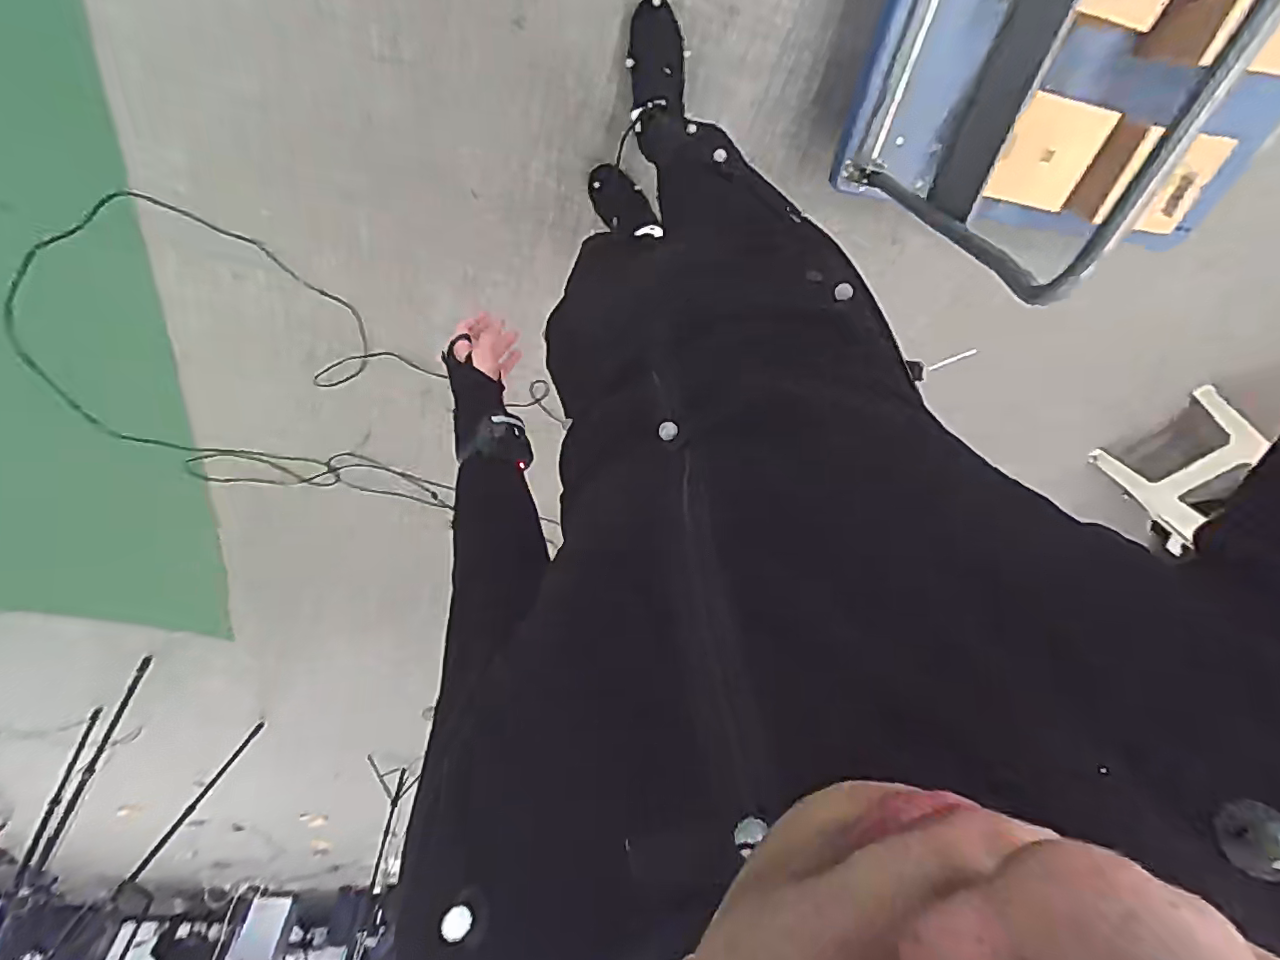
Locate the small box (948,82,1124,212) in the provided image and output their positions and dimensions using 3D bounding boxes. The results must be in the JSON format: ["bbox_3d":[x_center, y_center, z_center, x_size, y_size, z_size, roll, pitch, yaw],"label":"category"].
[{"bbox_3d":[0.741,-0.640,1.035,0.179,0.176,0.168,8,131,-8],"label":"small box"}]

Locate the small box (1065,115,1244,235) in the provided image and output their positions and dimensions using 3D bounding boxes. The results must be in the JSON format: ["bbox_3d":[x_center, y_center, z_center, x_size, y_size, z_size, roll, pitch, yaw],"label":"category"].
[{"bbox_3d":[0.985,-0.607,1.069,0.179,0.176,0.168,6,131,-5],"label":"small box"}]

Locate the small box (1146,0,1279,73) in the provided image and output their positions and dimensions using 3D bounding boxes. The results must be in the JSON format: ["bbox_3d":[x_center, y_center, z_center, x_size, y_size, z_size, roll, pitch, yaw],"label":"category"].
[{"bbox_3d":[1.024,-0.794,0.901,0.179,0.176,0.168,3,133,-4],"label":"small box"}]
